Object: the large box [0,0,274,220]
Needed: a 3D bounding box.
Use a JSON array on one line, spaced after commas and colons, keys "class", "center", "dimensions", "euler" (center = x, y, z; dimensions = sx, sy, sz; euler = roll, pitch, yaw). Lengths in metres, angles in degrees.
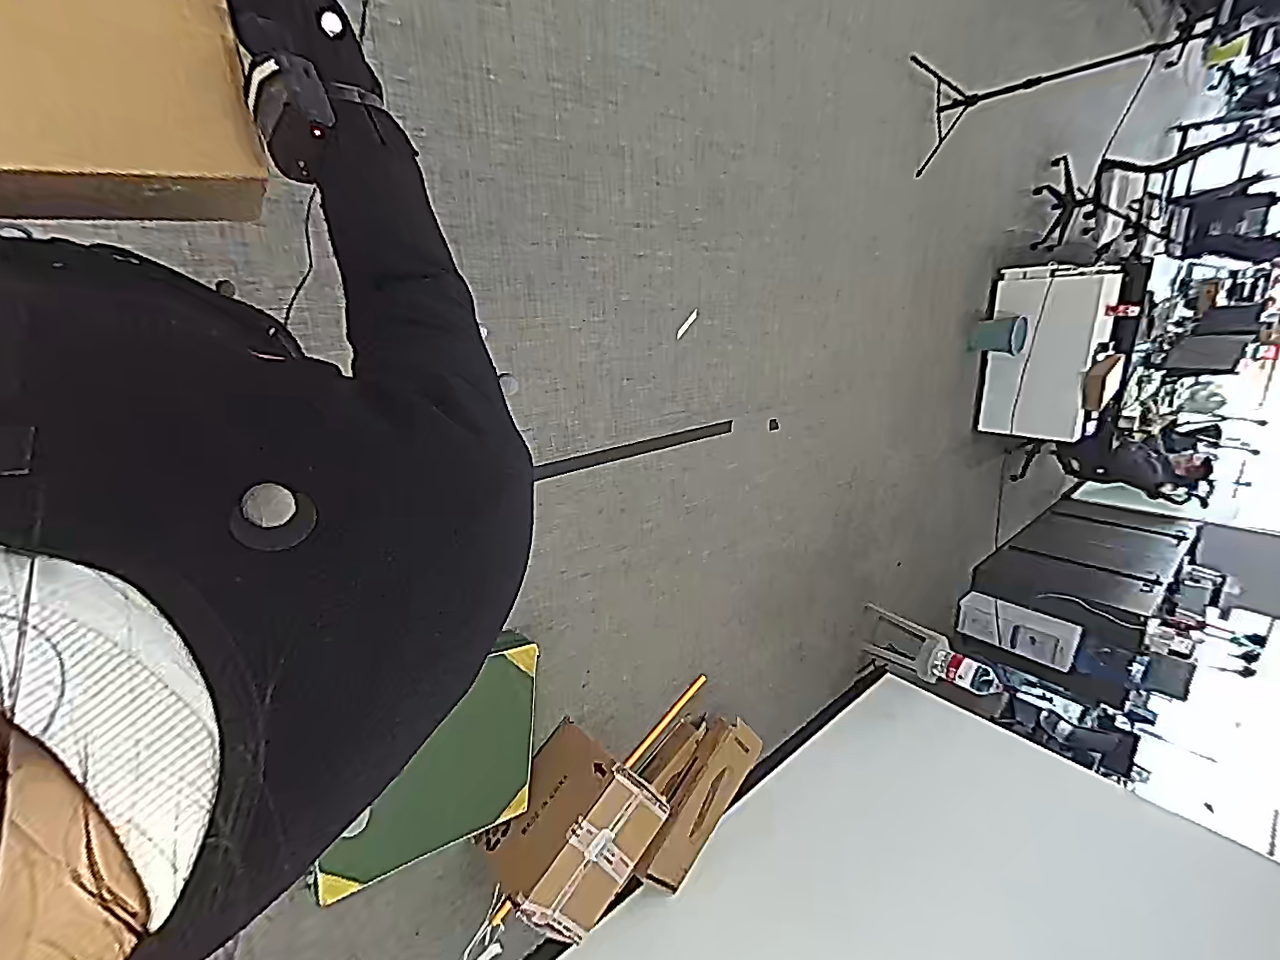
[{"class": "large box", "center": [-0.548, -0.368, 0.383], "dimensions": [0.408, 0.320, 0.320], "euler": [-18, 117, -33]}]
